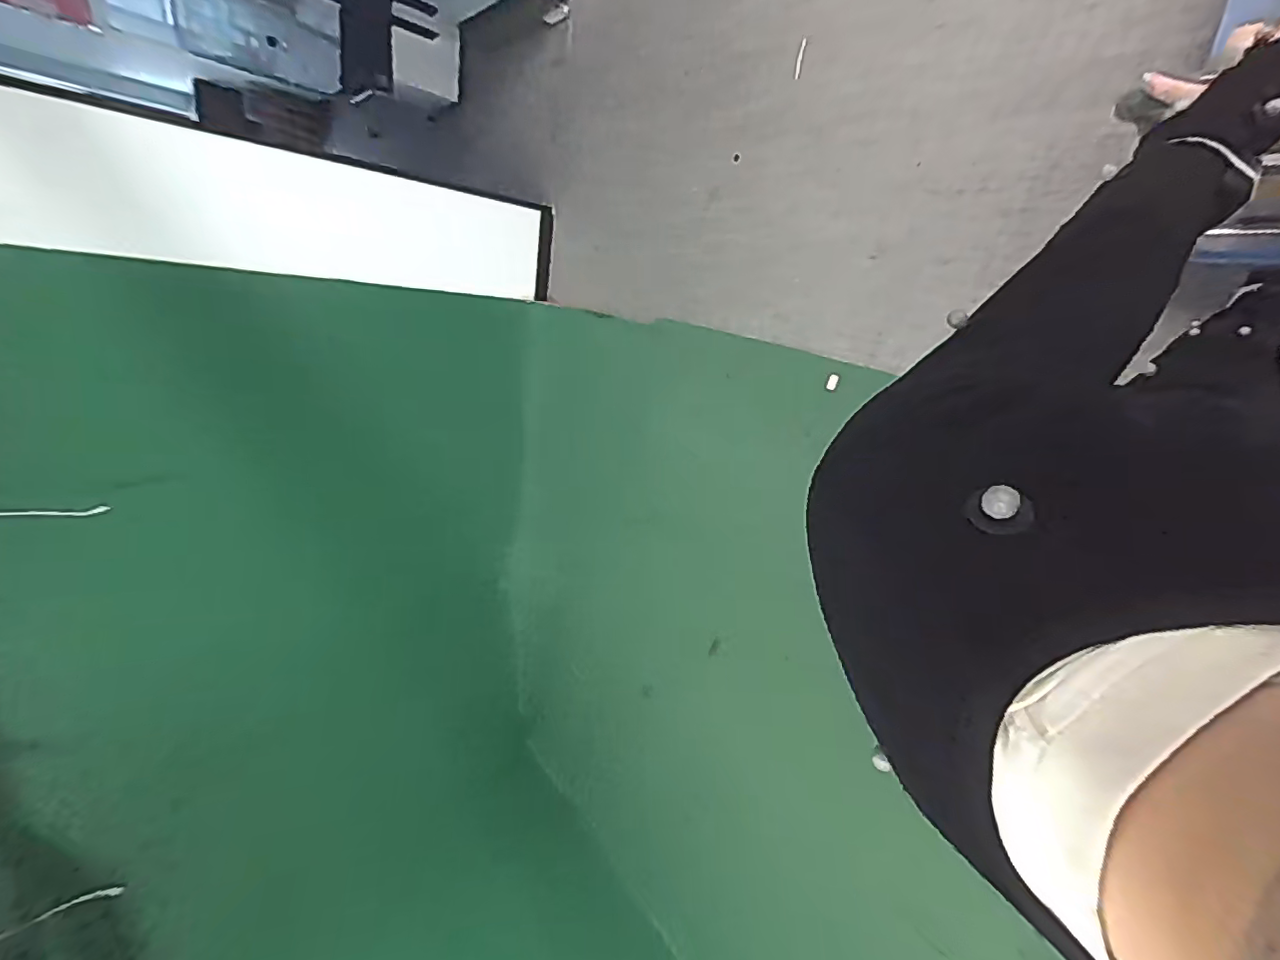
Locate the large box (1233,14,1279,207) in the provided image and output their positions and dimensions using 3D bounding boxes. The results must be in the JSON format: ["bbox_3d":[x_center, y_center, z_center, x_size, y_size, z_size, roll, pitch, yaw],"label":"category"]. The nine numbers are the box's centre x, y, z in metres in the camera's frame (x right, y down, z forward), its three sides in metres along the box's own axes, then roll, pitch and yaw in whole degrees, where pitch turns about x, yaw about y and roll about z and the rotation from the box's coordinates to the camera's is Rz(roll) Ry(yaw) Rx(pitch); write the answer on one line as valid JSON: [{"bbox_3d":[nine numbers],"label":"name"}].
[{"bbox_3d":[1.075,-0.620,0.707,0.320,0.320,0.408,24,112,44],"label":"large box"}]
